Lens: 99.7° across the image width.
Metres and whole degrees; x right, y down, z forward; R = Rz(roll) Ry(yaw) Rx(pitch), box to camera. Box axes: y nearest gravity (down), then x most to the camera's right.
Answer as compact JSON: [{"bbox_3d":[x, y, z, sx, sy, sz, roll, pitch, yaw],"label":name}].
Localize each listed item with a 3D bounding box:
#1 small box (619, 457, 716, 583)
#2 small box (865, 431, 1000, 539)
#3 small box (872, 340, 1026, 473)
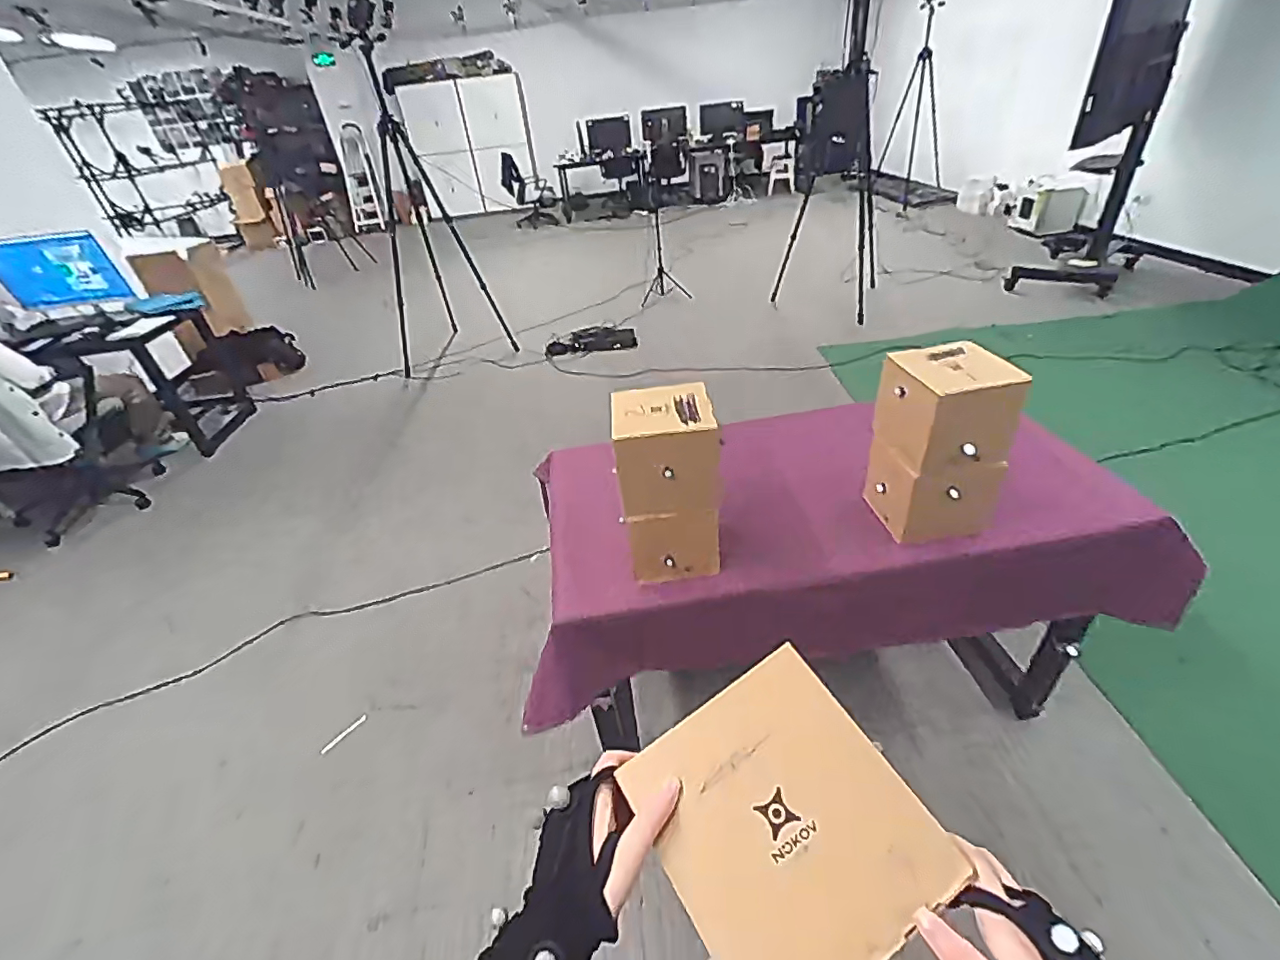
[{"bbox_3d":[0.052,0.078,1.072,0.168,0.176,0.179,-8,36,-2],"label":"small box"},{"bbox_3d":[0.569,0.001,1.084,0.179,0.176,0.168,-8,36,-1],"label":"small box"},{"bbox_3d":[0.550,-0.136,0.994,0.168,0.176,0.179,-10,37,-3],"label":"small box"}]
